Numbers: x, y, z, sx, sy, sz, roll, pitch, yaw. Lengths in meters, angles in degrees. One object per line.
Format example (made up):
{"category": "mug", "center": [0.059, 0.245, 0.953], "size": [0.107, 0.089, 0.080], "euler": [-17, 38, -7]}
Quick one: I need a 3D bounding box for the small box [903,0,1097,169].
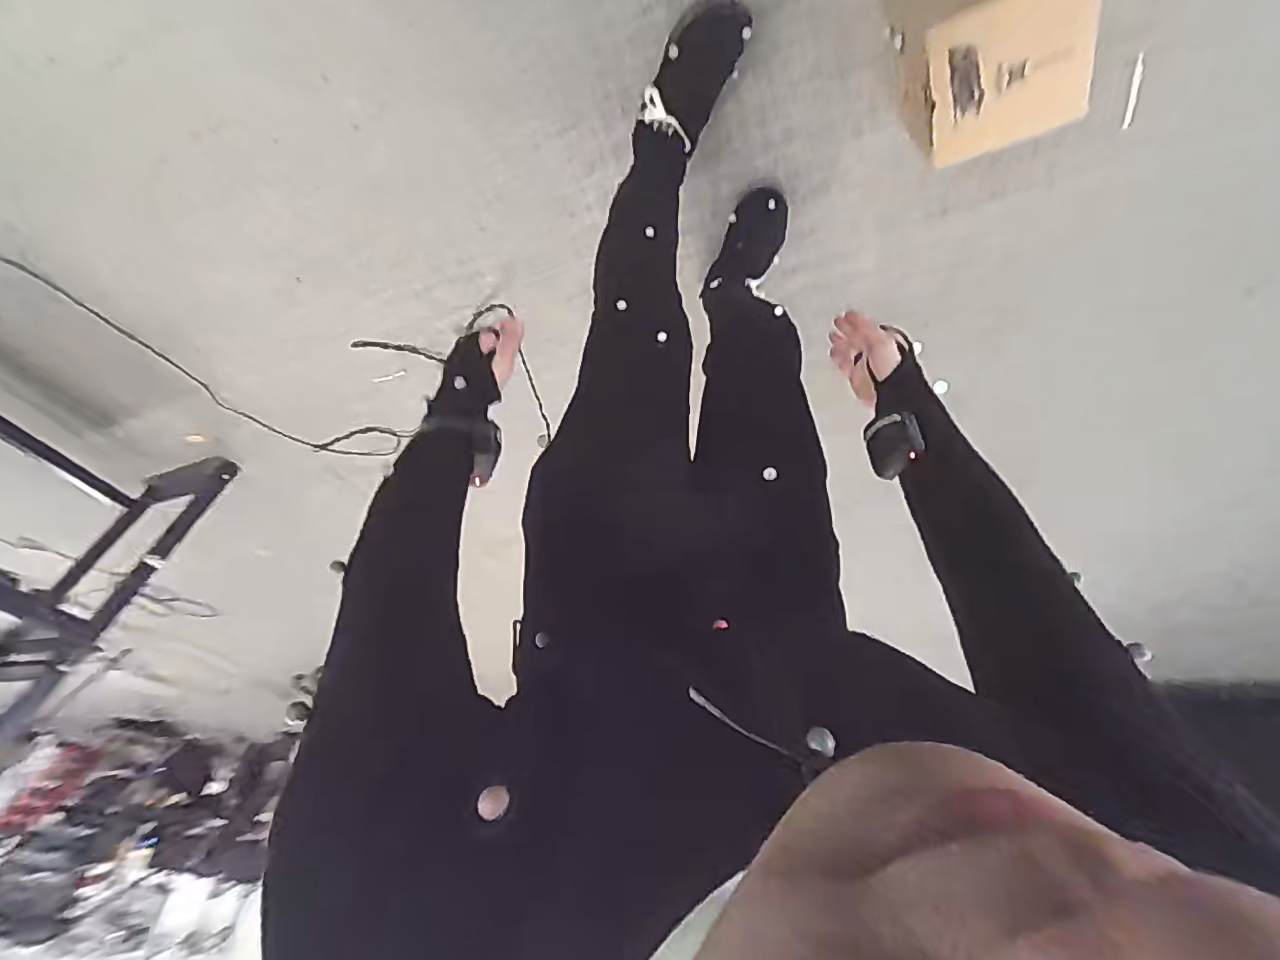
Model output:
{"category": "small box", "center": [0.457, -0.552, 0.714], "size": [0.179, 0.176, 0.168], "euler": [-12, 134, 21]}
